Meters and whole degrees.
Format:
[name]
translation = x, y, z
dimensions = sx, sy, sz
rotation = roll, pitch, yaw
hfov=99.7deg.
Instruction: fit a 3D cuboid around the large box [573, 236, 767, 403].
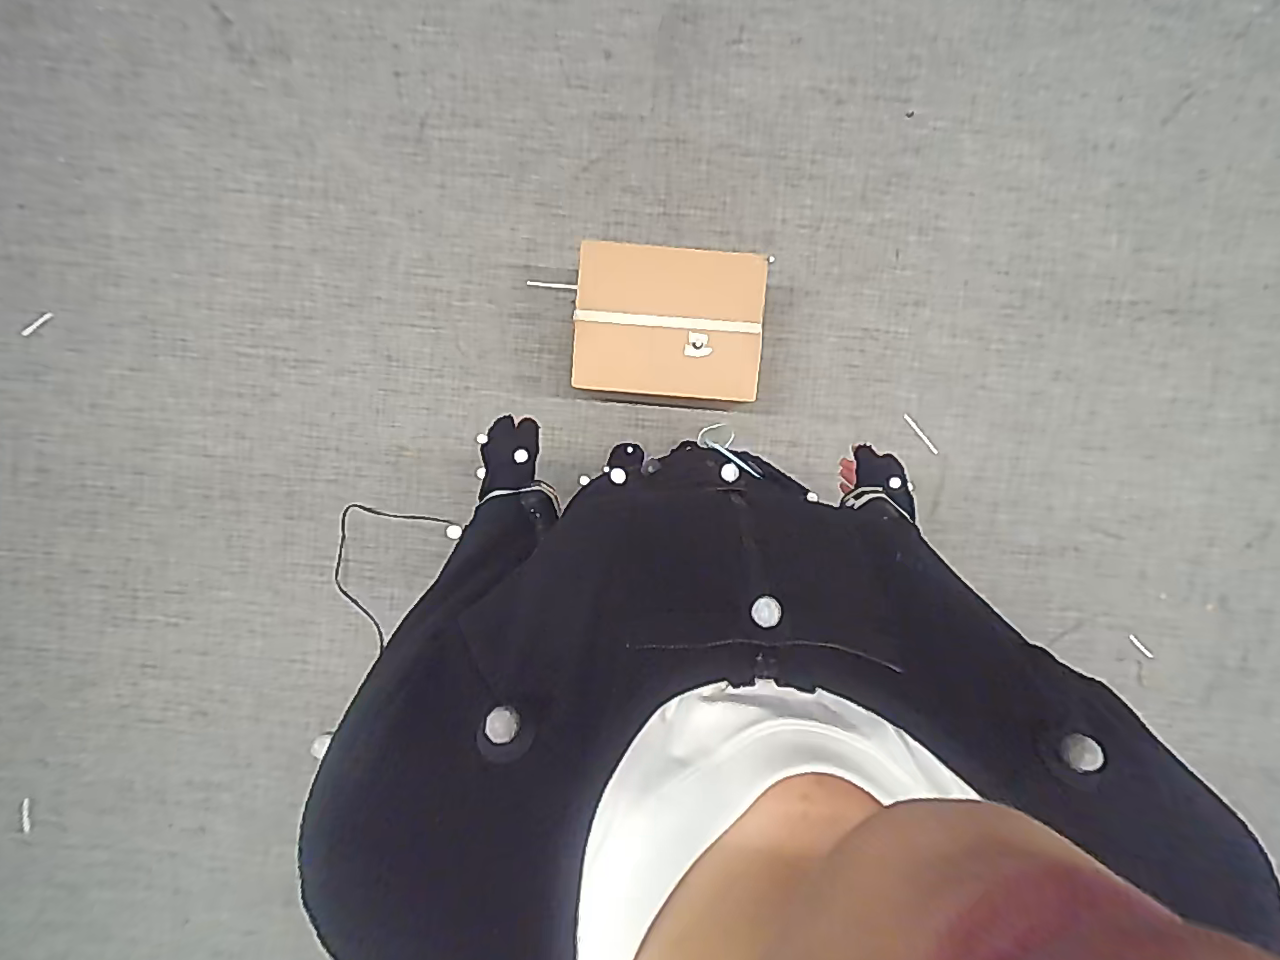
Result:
[large box]
translation = 0.059, -0.362, 1.305
dimensions = 0.408, 0.320, 0.320
rotation = 5, 95, -1
